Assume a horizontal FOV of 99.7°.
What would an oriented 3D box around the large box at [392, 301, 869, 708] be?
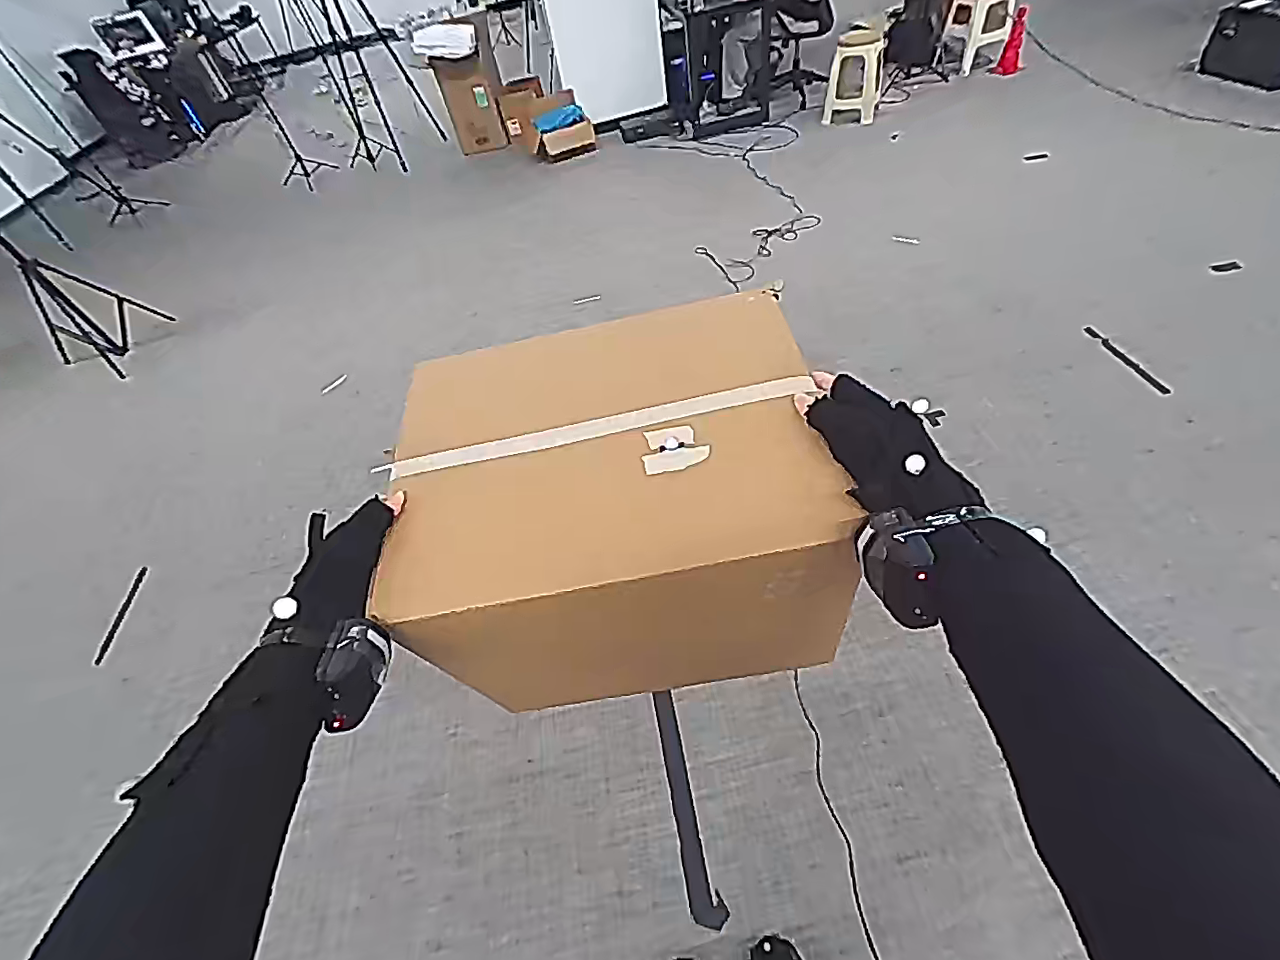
[{"bbox_3d":[-0.007,0.045,0.640,0.408,0.320,0.320,-11,54,4],"label":"large box"}]
